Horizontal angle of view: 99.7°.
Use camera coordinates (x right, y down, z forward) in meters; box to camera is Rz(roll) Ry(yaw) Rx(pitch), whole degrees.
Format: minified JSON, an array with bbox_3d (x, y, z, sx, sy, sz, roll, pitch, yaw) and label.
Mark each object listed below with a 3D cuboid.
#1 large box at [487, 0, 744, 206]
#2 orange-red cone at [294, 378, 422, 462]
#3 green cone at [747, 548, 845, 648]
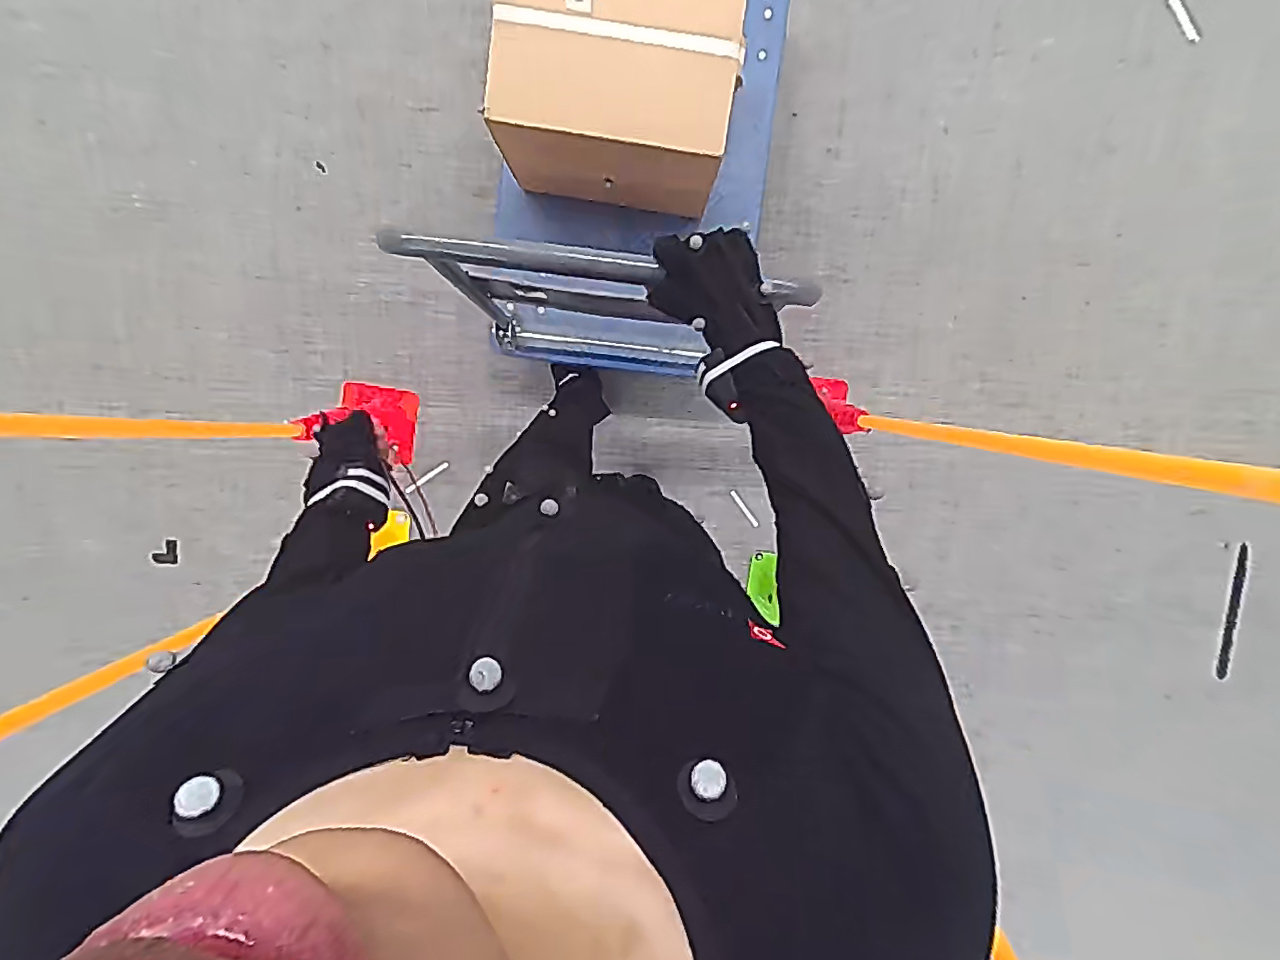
[{"bbox_3d":[-0.035,-0.749,1.023,0.408,0.320,0.320,8,98,-1],"label":"large box"},{"bbox_3d":[-0.682,-0.136,1.260,0.198,0.360,0.199,10,97,-2],"label":"orange-red cone"},{"bbox_3d":[0.405,0.316,1.319,0.202,0.368,0.200,7,98,-2],"label":"green cone"}]
